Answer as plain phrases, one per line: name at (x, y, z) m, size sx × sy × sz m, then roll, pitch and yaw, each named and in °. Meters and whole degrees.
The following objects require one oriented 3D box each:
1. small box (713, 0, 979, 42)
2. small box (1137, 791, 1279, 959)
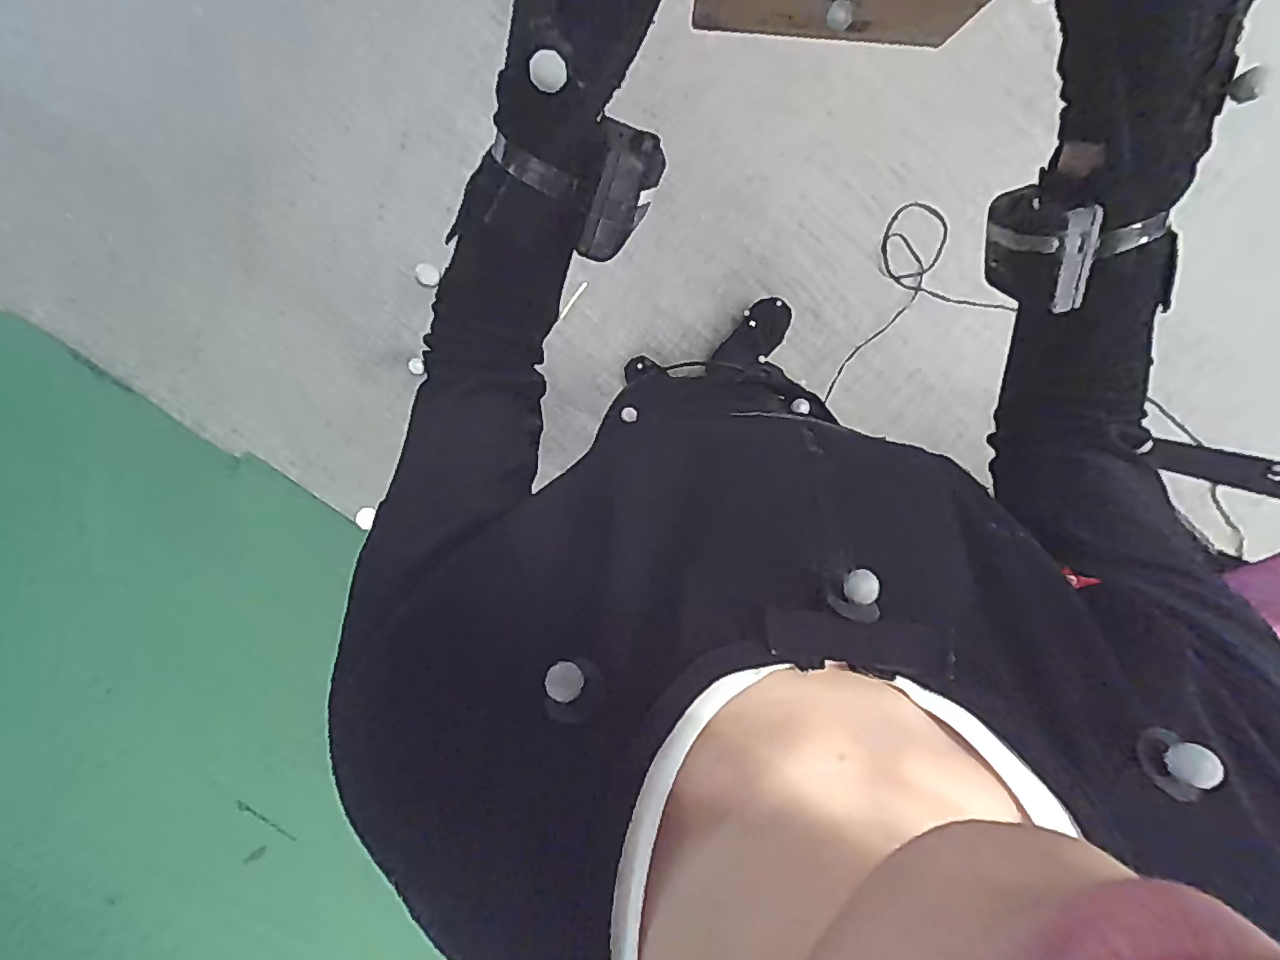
small box at (0.124, -0.353, 0.250) m, size 0.168 × 0.176 × 0.179 m, roll 5°, pitch 107°, yaw 0°
small box at (0.905, 0.605, 0.787) m, size 0.179 × 0.176 × 0.168 m, roll 43°, pitch 101°, yaw -8°
